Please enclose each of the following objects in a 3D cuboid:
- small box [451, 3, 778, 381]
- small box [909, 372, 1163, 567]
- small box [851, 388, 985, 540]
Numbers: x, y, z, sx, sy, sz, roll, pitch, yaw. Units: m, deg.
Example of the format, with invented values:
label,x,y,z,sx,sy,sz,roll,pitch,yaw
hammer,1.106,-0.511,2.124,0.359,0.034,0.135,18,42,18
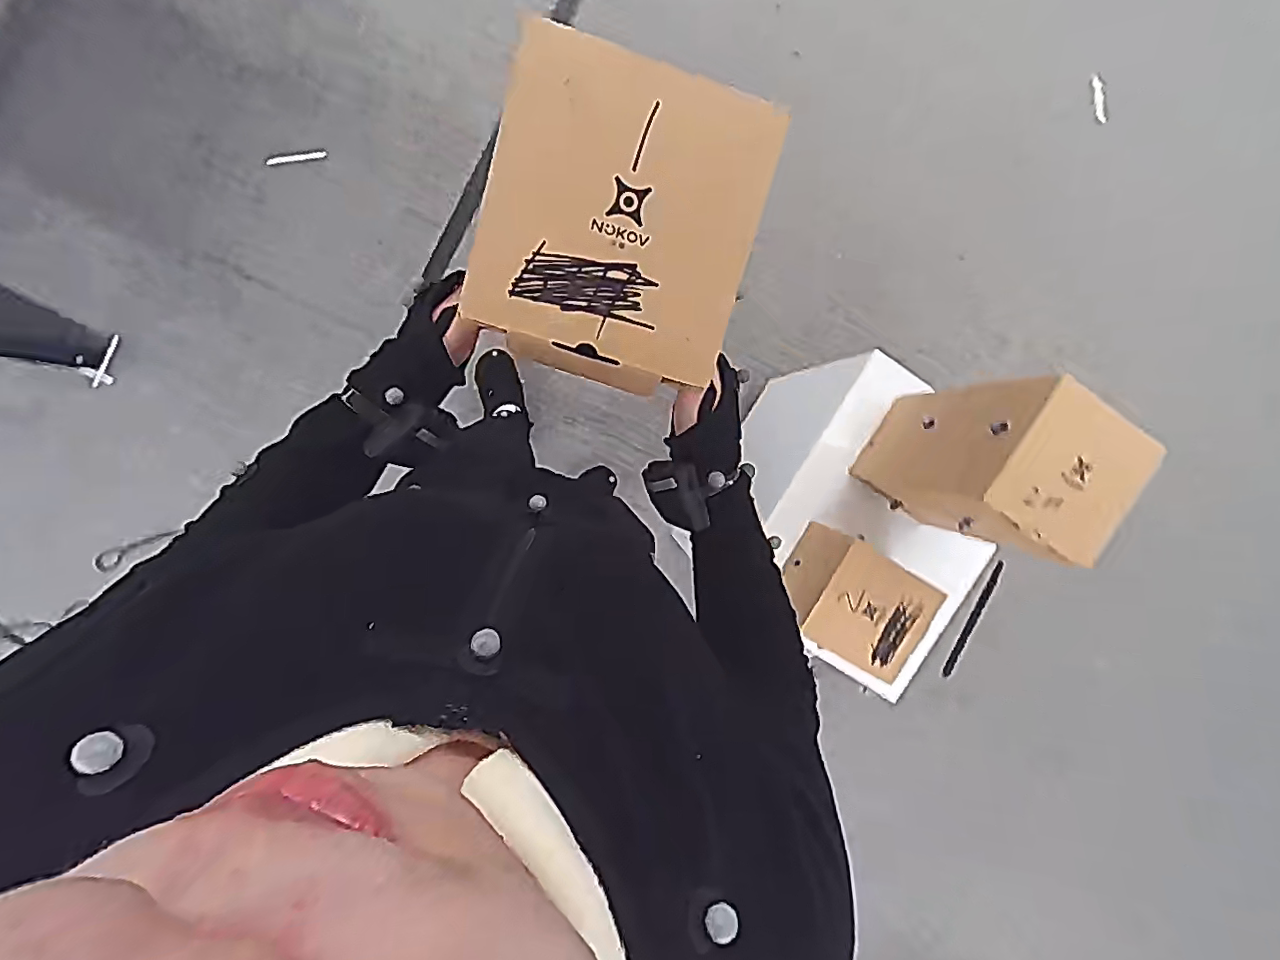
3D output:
label,x,y,z,sx,sy,sz,roll,pitch,yaw
small box,-0.022,-0.183,0.406,0.168,0.176,0.179,15,101,-7
small box,0.498,-0.018,0.710,0.168,0.176,0.179,33,92,-7
small box,0.485,-0.031,0.873,0.179,0.176,0.168,33,91,-9
